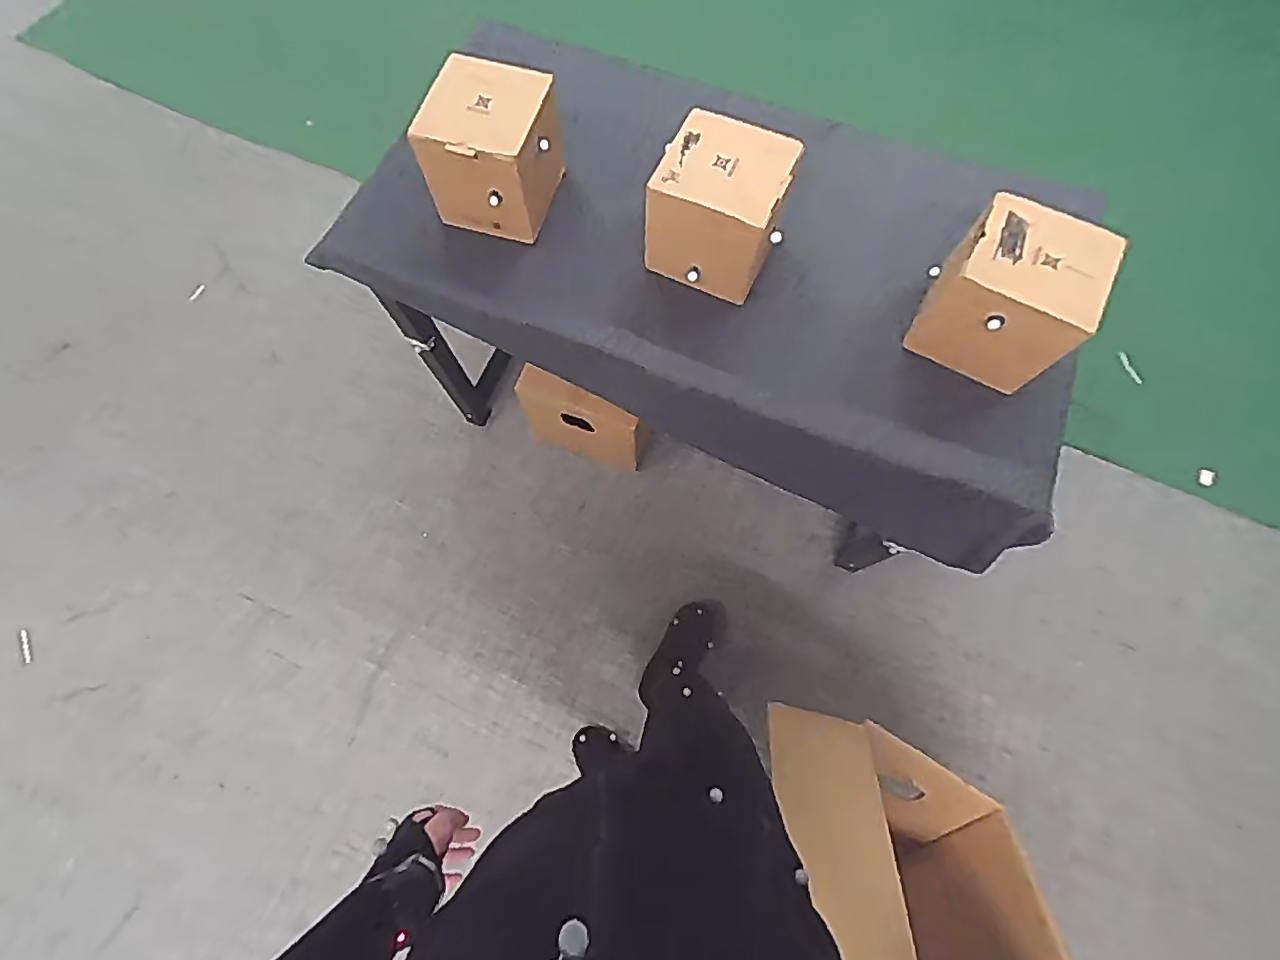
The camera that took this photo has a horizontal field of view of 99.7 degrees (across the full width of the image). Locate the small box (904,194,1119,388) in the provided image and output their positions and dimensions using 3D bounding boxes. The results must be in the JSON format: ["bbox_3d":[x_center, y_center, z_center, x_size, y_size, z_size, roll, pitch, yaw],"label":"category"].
[{"bbox_3d":[0.519,-0.261,0.781,0.179,0.176,0.168,28,74,9],"label":"small box"}]

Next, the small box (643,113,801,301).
[{"bbox_3d":[0.116,-0.407,0.832,0.179,0.176,0.168,24,73,7],"label":"small box"}]

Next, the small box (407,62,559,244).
[{"bbox_3d":[-0.236,-0.515,0.869,0.168,0.176,0.179,15,70,3],"label":"small box"}]
